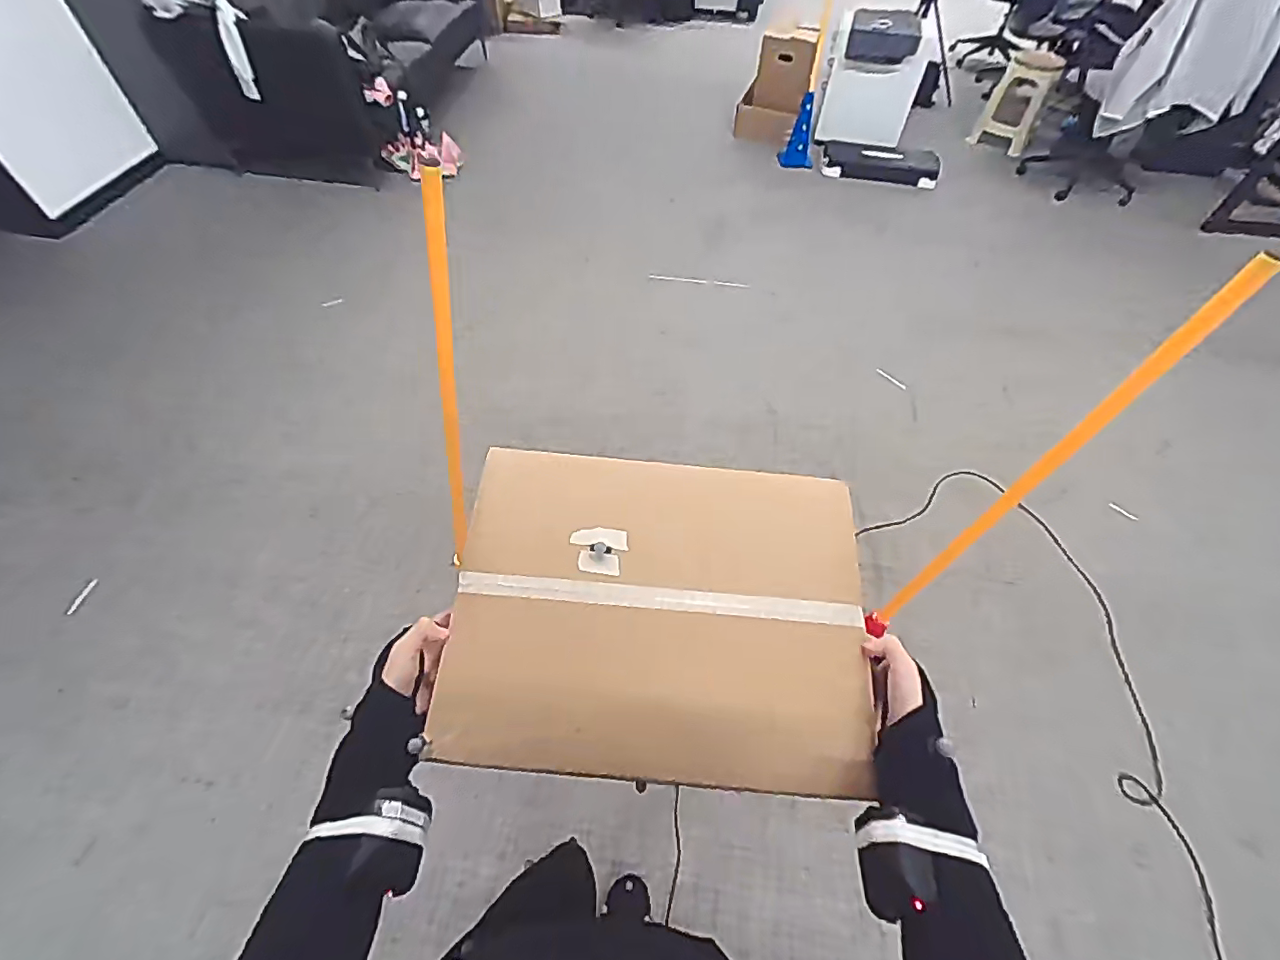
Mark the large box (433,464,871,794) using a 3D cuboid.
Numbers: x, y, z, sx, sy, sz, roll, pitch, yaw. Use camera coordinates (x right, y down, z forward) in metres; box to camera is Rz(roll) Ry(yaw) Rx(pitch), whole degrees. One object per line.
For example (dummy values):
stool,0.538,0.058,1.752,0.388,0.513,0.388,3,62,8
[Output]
large box,0.017,0.197,0.684,0.408,0.320,0.320,5,62,0
